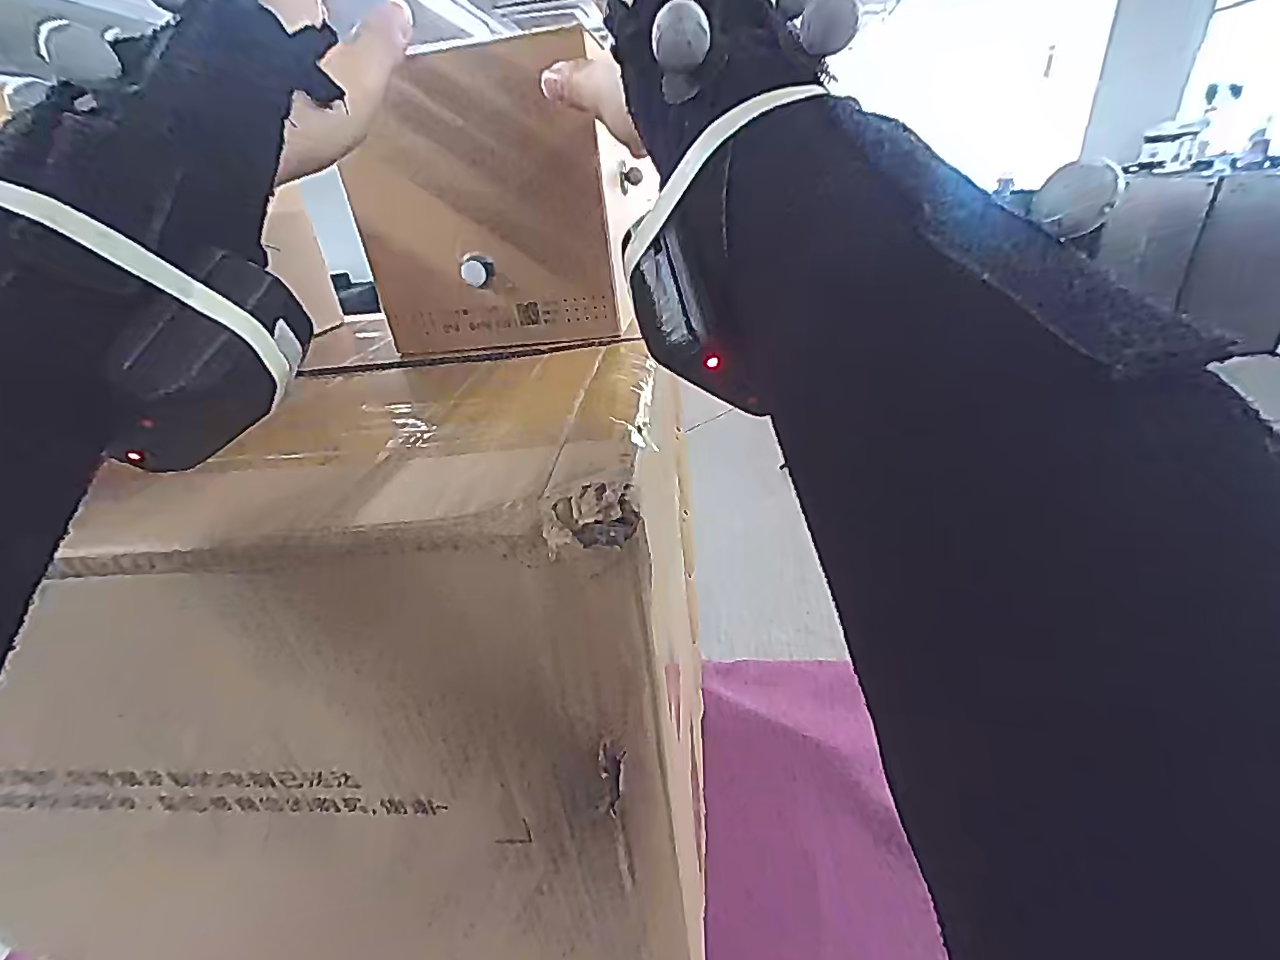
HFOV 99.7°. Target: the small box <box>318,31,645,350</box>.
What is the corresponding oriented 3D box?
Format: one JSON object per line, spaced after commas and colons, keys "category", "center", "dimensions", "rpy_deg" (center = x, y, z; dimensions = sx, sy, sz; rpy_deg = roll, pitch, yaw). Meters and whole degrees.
{"category": "small box", "center": [-0.091, -0.204, 0.411], "dimensions": [0.168, 0.176, 0.179], "rpy_deg": [-3, 29, 9]}
